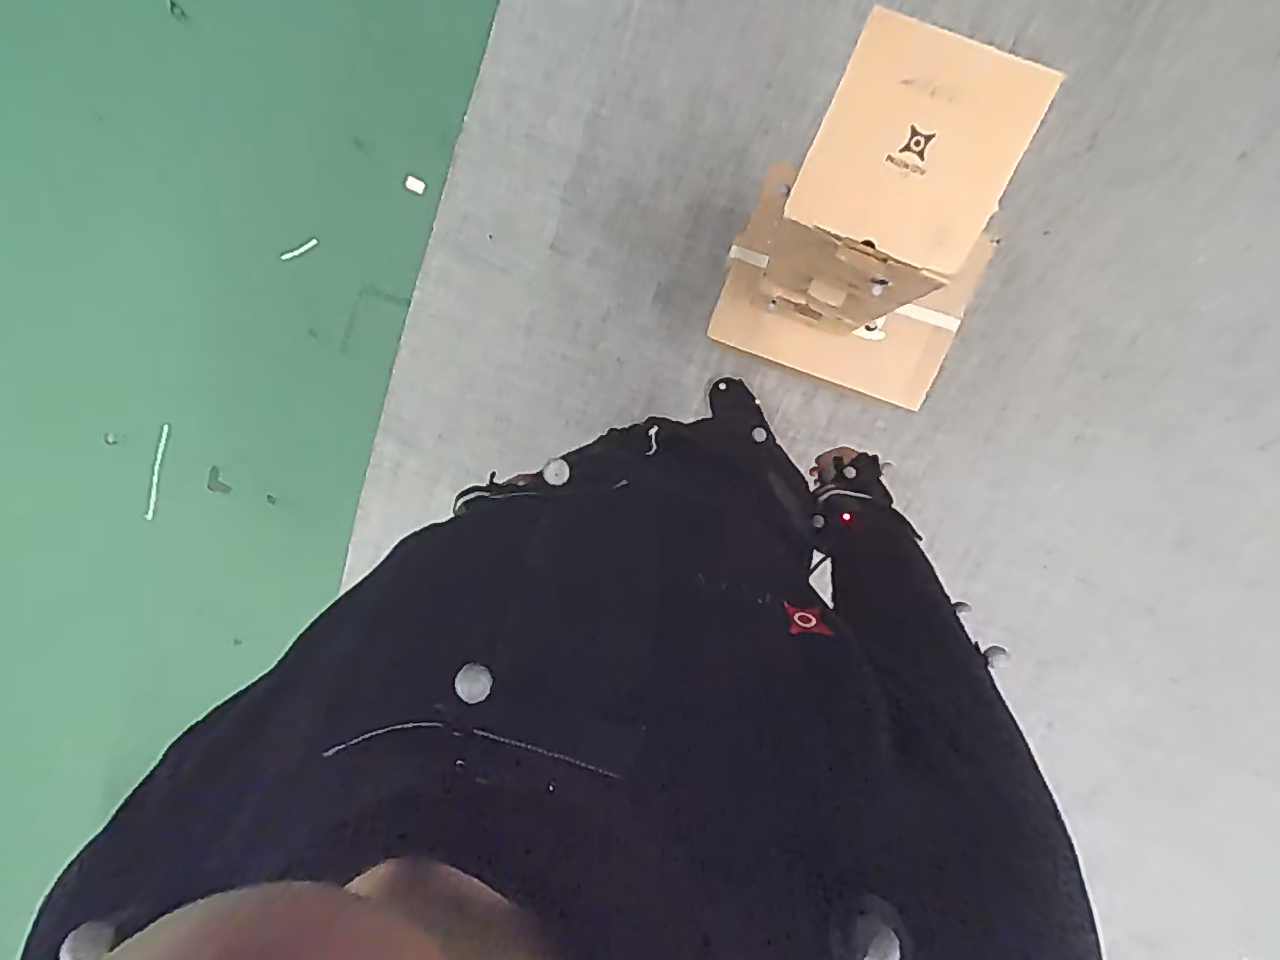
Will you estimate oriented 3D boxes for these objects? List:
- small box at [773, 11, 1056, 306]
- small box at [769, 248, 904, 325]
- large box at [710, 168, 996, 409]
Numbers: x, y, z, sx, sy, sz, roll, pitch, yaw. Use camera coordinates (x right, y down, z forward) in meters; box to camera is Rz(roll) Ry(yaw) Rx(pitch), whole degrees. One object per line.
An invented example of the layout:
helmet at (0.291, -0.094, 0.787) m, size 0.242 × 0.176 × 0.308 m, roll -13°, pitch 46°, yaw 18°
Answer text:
small box at (0.243, -0.291, 0.536) m, size 0.168 × 0.176 × 0.179 m, roll 24°, pitch 102°, yaw 4°
small box at (0.276, -0.320, 0.694) m, size 0.168 × 0.176 × 0.179 m, roll 27°, pitch 103°, yaw 4°
large box at (0.379, -0.357, 1.087) m, size 0.408 × 0.320 × 0.320 m, roll 21°, pitch 104°, yaw 5°
